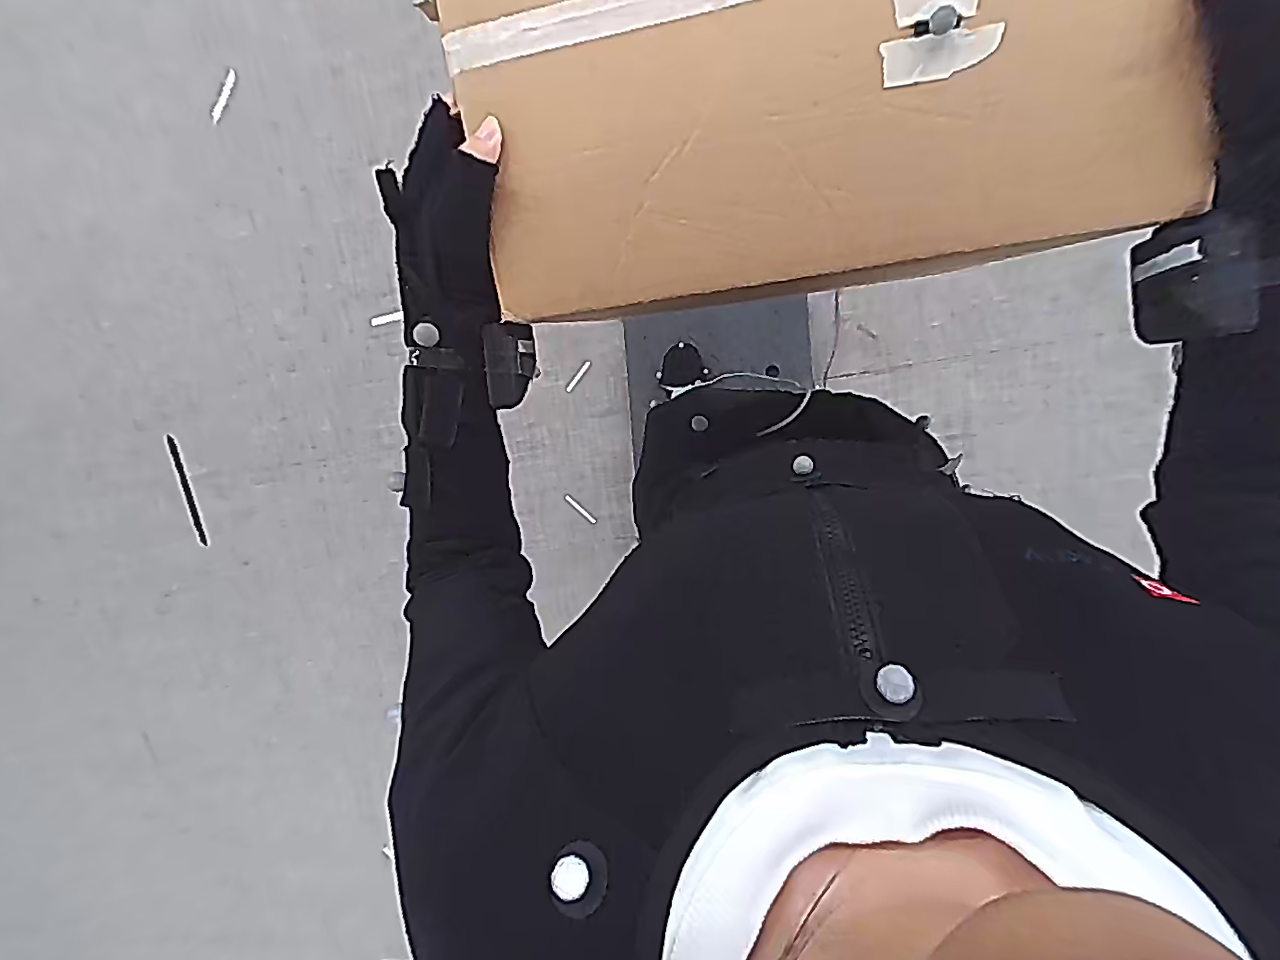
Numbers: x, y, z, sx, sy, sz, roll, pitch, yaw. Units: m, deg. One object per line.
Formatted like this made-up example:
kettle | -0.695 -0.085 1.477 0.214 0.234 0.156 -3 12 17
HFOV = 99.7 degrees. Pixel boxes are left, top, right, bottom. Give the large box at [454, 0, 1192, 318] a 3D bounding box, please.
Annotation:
large box | 0.104 -0.324 0.444 0.408 0.320 0.320 -6 106 10
